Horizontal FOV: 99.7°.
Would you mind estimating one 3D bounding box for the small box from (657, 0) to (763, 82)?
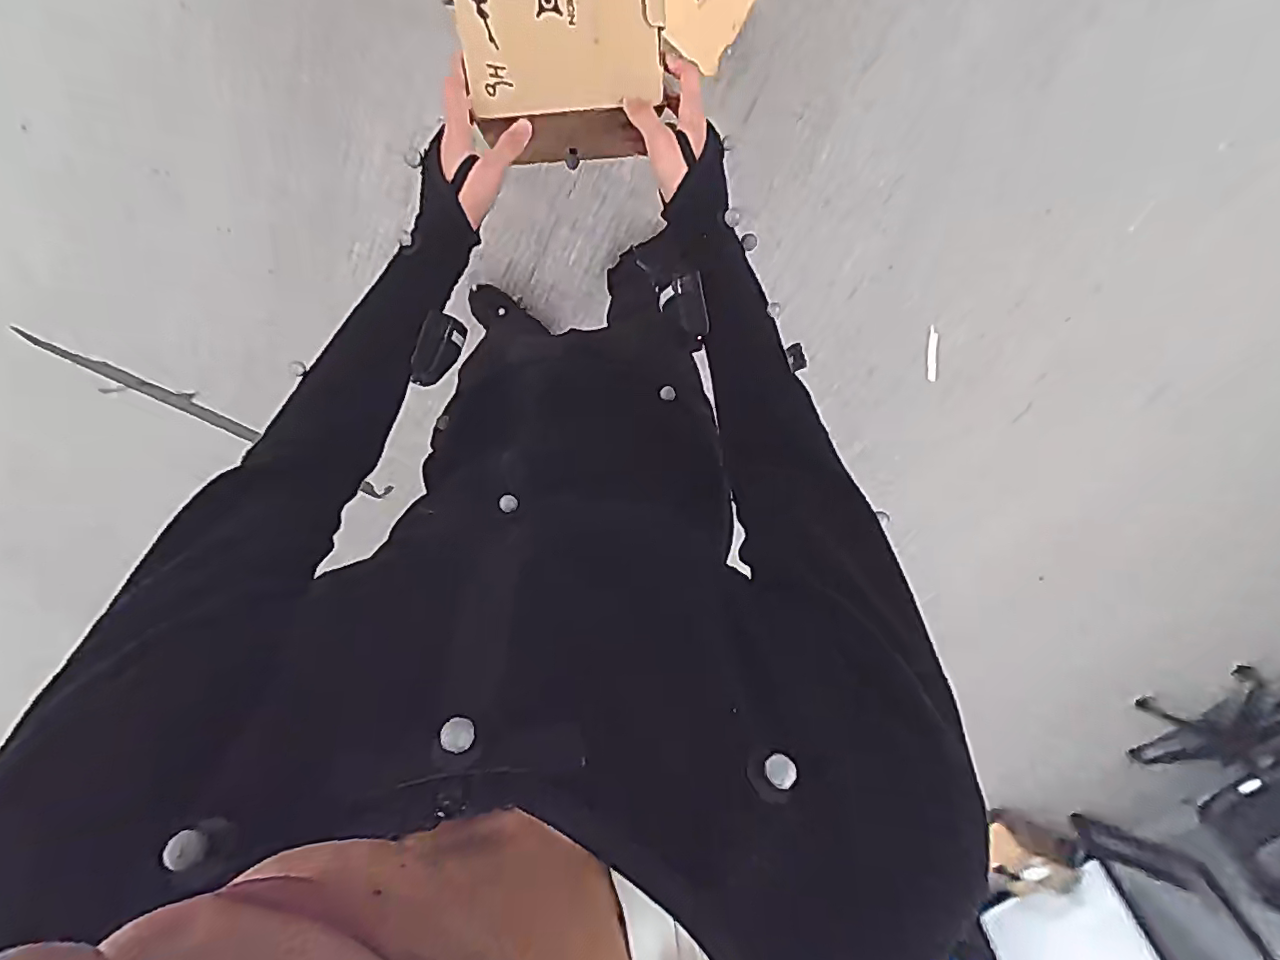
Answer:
[{"bbox_3d":[0.104,-0.848,0.962,0.179,0.176,0.168,32,117,-17],"label":"small box"}]

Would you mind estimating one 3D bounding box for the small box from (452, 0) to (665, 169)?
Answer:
[{"bbox_3d":[-0.081,-0.425,0.535,0.179,0.176,0.168,-8,107,-4],"label":"small box"}]
